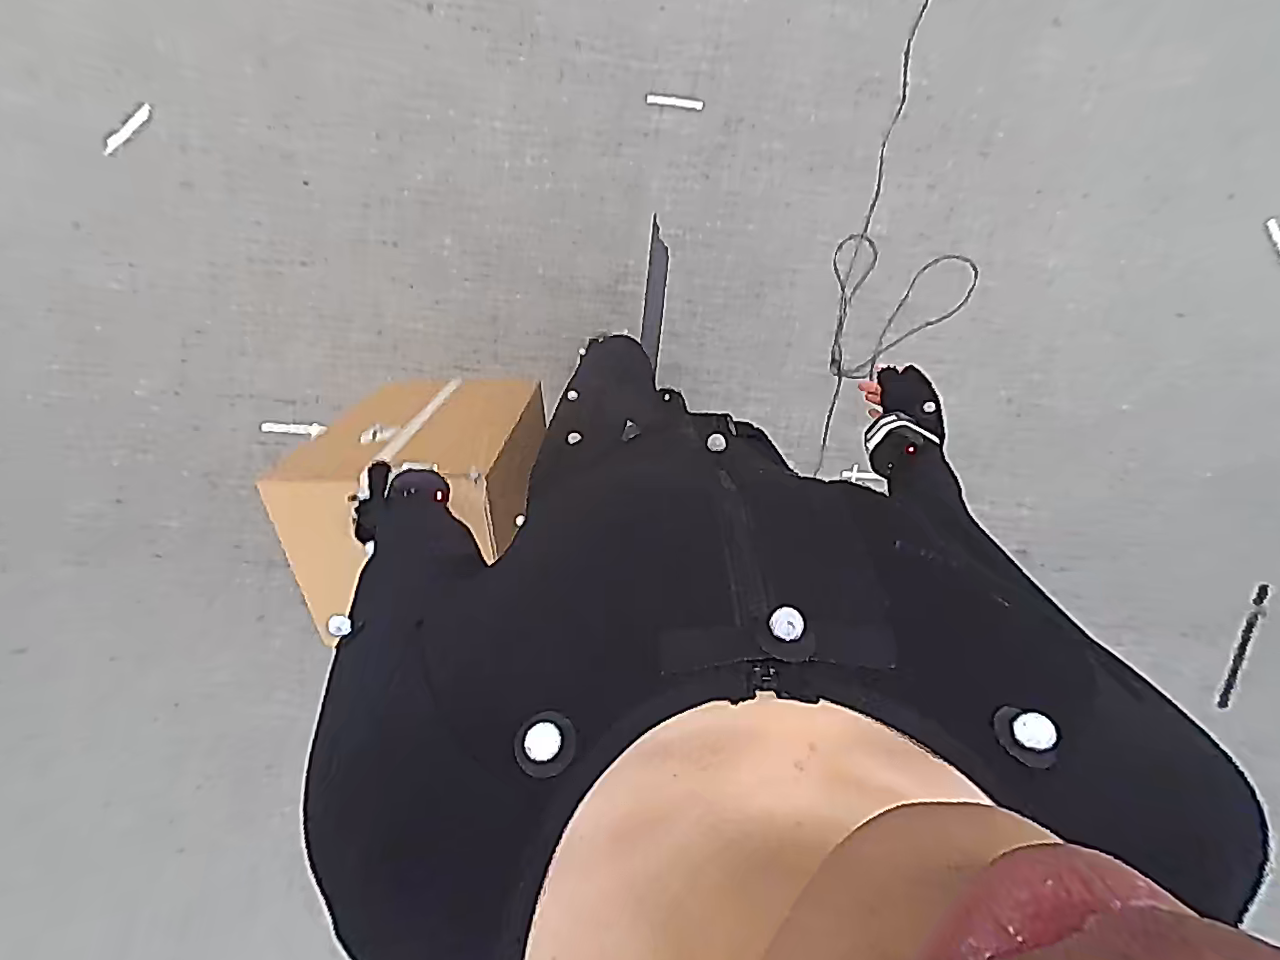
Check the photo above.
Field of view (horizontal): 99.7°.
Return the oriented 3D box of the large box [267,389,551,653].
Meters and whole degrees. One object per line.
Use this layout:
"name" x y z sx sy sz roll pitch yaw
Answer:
"large box" -0.352 0.050 0.972 0.320 0.408 0.320 -3 119 2
